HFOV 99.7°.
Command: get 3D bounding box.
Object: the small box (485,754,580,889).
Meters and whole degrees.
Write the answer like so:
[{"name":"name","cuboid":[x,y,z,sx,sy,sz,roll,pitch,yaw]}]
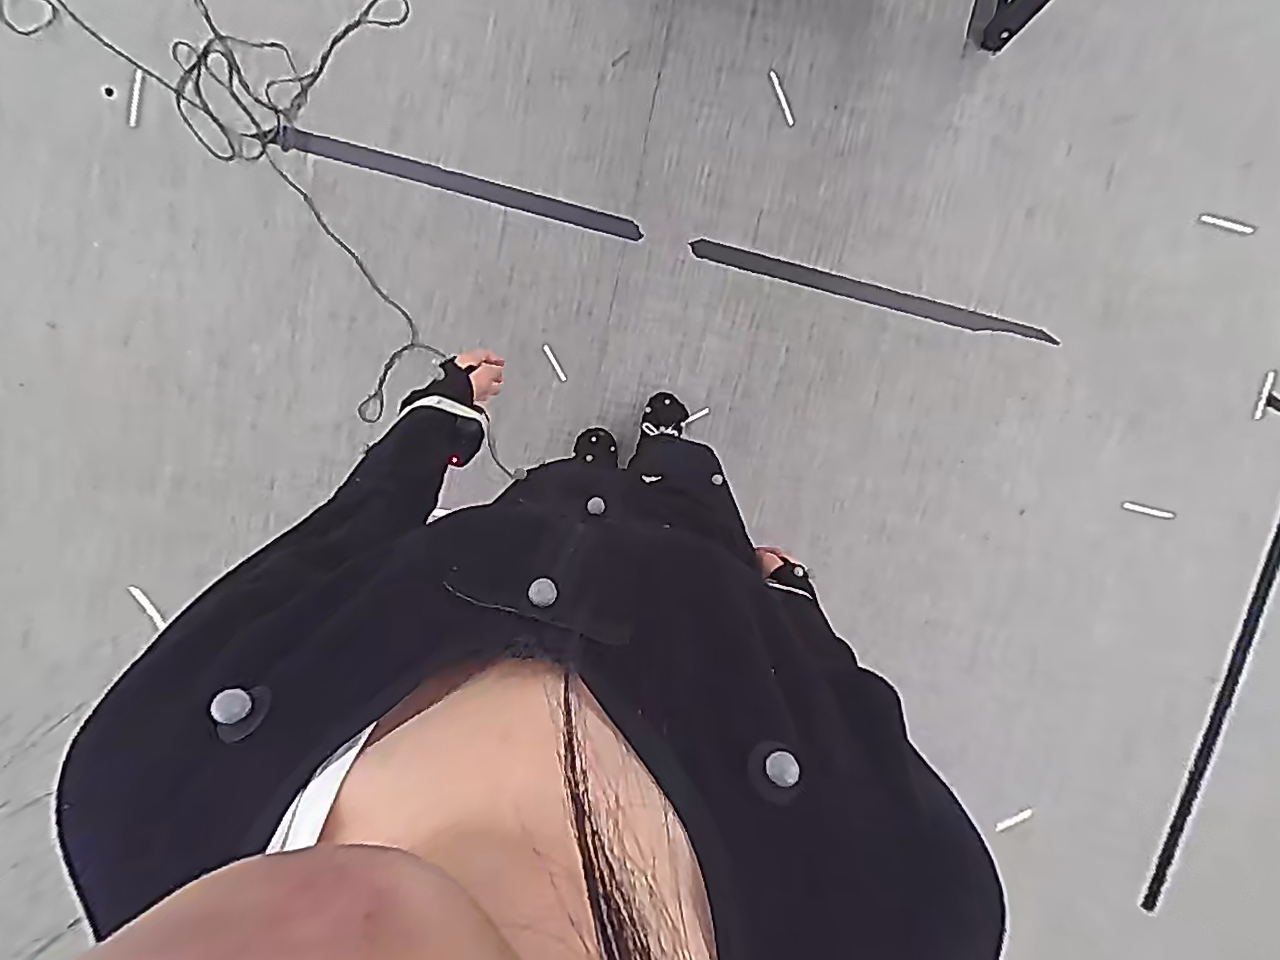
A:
[{"name":"small box","cuboid":[-0.228,0.741,1.188,0.168,0.176,0.179,10,95,-3]}]
